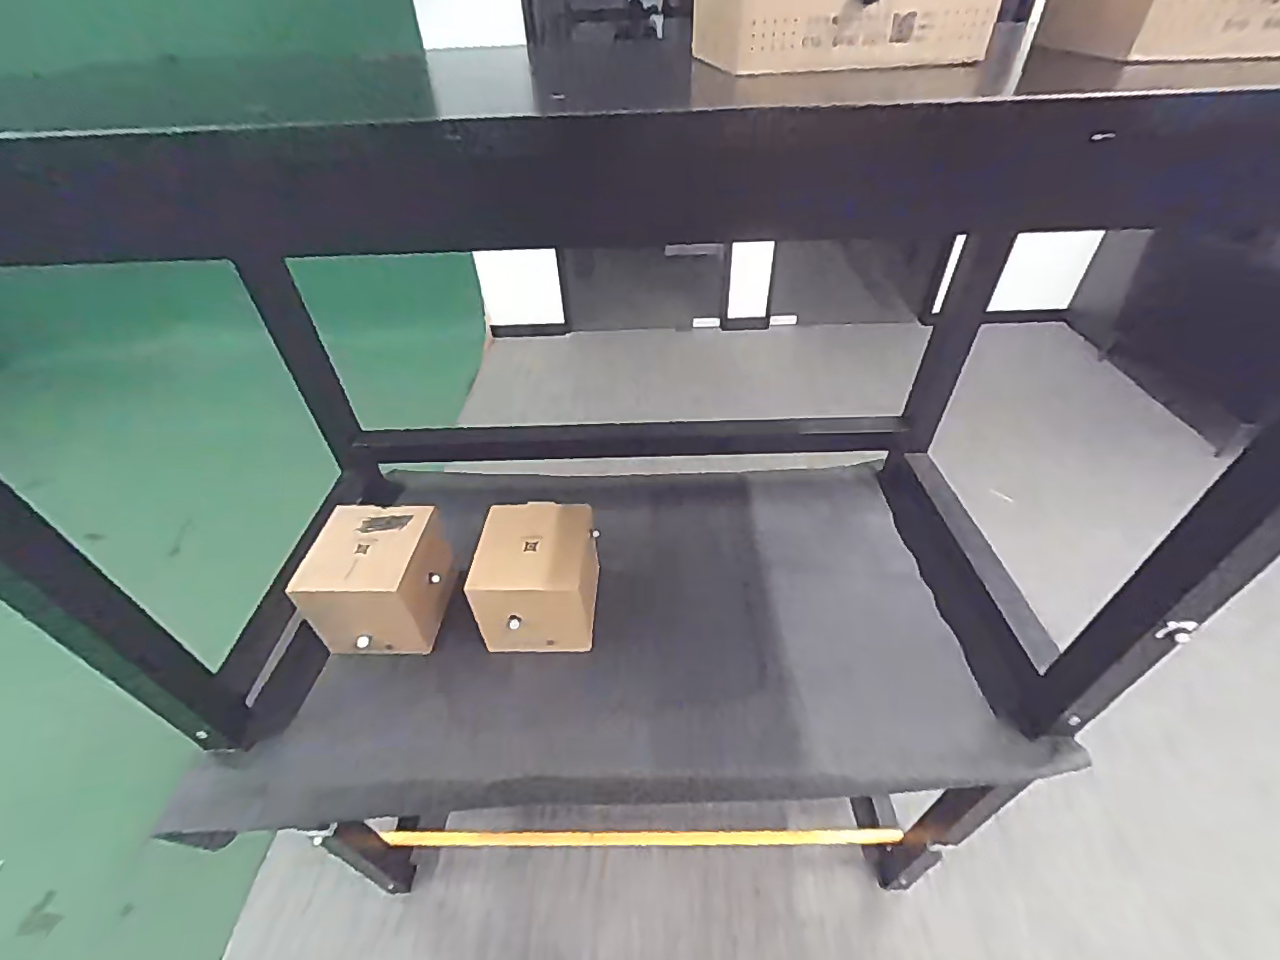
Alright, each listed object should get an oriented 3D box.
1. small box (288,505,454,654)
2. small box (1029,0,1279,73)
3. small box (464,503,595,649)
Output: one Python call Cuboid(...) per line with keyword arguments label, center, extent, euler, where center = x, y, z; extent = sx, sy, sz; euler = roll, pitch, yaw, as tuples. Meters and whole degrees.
Cuboid(label="small box", center=(-0.418, 0.160, 0.881), extent=(0.168, 0.176, 0.179), euler=(-1, 42, 2))
Cuboid(label="small box", center=(0.378, -0.353, 0.322), extent=(0.168, 0.176, 0.179), euler=(6, 42, 10))
Cuboid(label="small box", center=(-0.165, 0.158, 0.877), extent=(0.168, 0.176, 0.179), euler=(-1, 41, 2))
